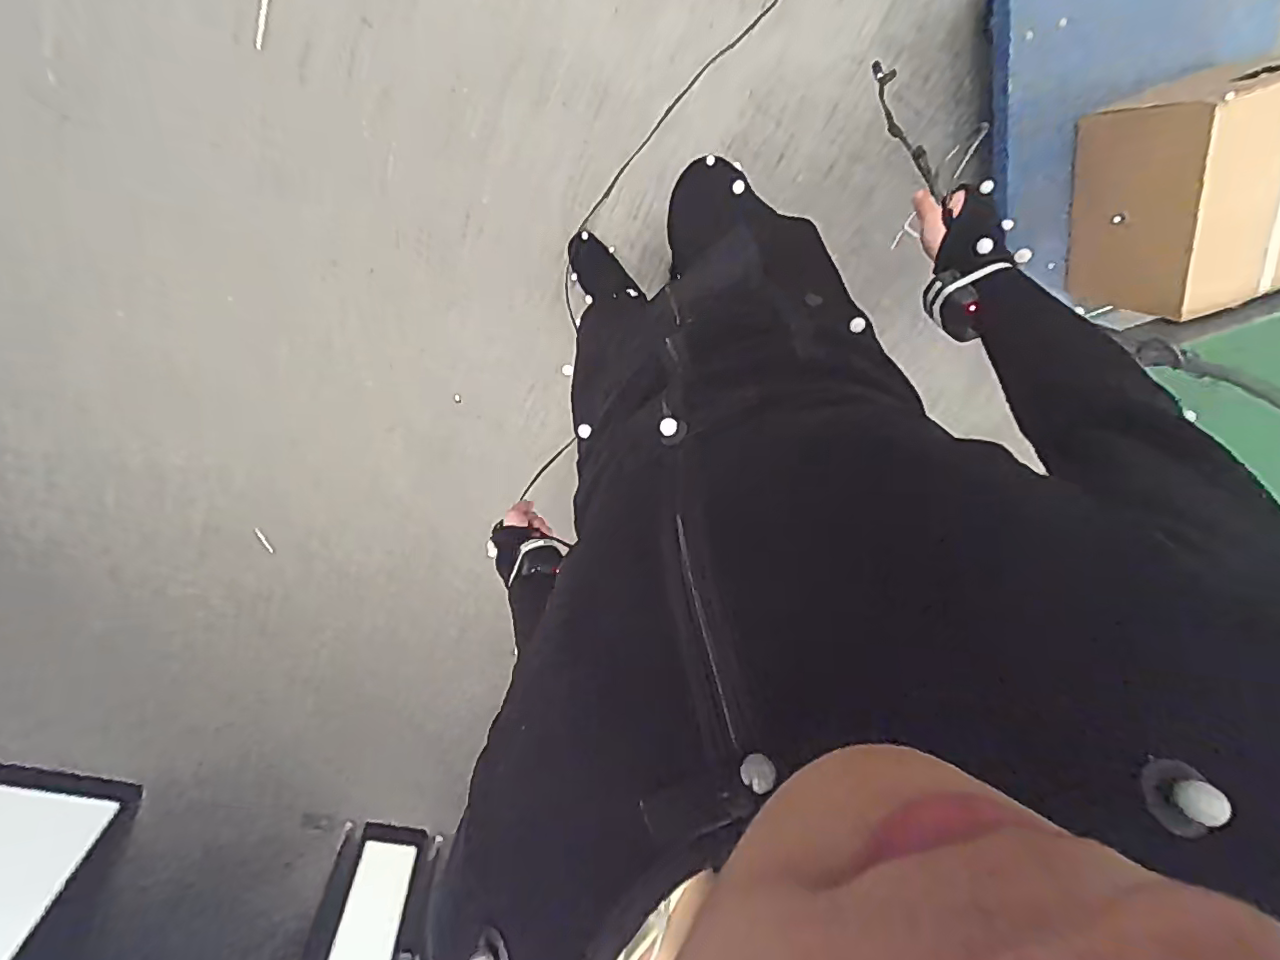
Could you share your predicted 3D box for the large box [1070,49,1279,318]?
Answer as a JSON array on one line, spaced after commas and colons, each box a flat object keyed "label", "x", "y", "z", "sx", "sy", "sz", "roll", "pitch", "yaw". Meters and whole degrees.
[{"label": "large box", "x": 1.175, "y": -0.613, "z": 1.134, "sx": 0.320, "sy": 0.320, "sz": 0.408, "roll": -20, "pitch": 119, "yaw": 5}]
